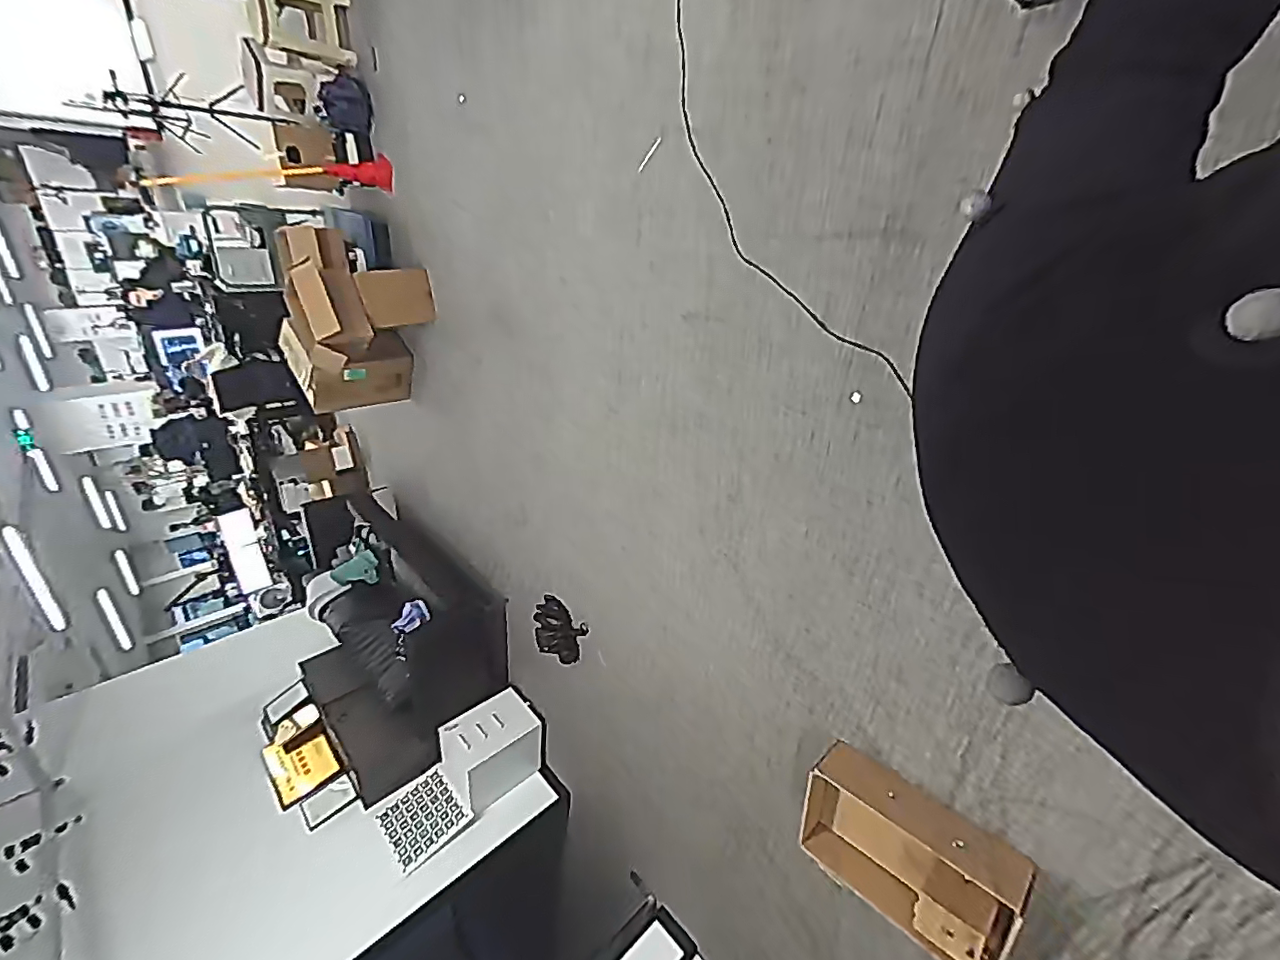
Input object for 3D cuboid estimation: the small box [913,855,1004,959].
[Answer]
[{"bbox_3d":[0.945,1.266,1.606,0.179,0.176,0.168,20,121,44],"label":"small box"}]
